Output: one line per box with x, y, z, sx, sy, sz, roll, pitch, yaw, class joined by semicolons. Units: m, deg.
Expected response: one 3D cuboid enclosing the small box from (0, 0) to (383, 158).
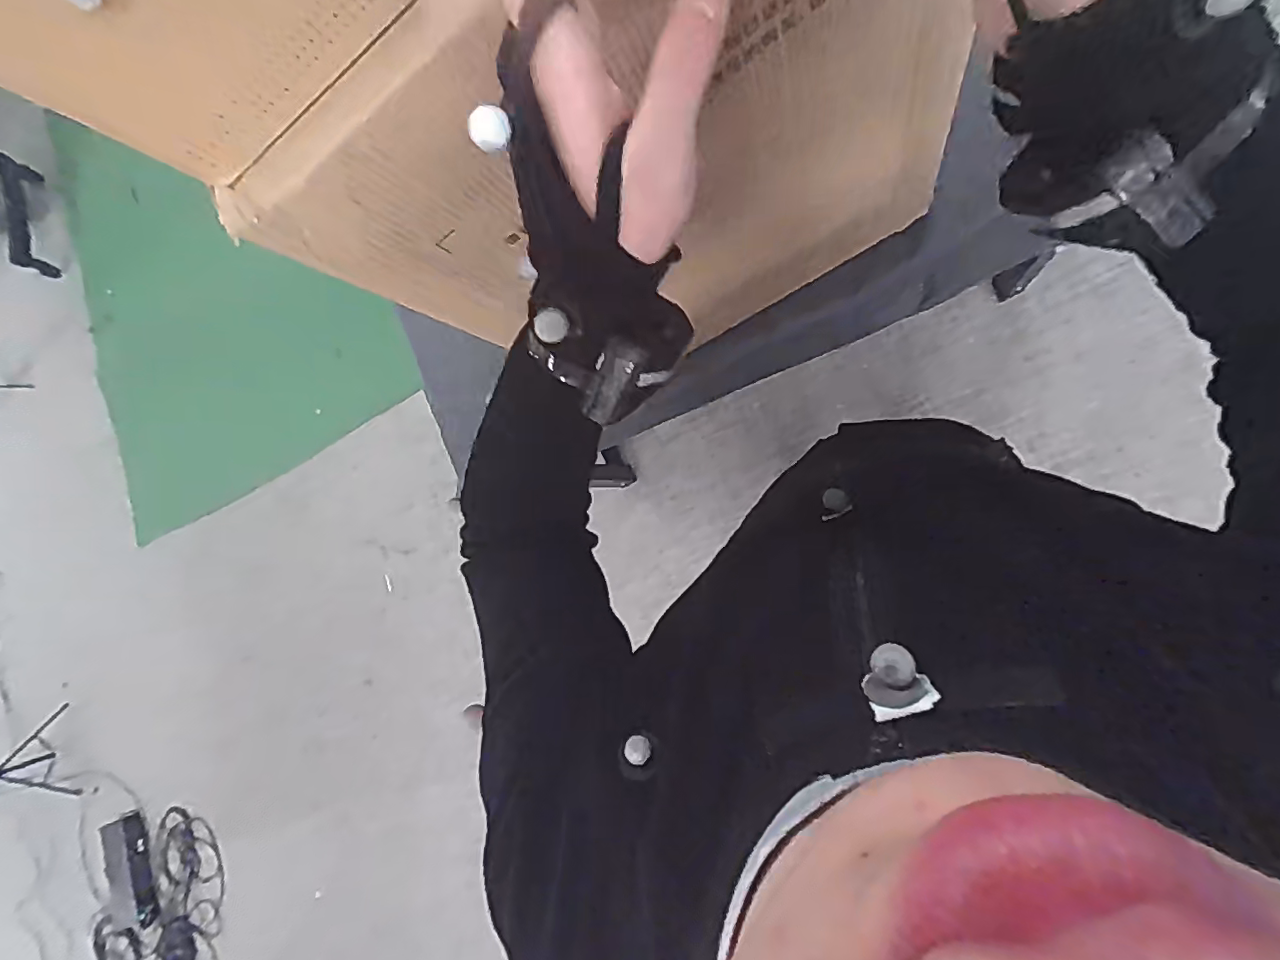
-0.250;-0.300;0.250;0.179;0.176;0.168;-27;81;21;small box
